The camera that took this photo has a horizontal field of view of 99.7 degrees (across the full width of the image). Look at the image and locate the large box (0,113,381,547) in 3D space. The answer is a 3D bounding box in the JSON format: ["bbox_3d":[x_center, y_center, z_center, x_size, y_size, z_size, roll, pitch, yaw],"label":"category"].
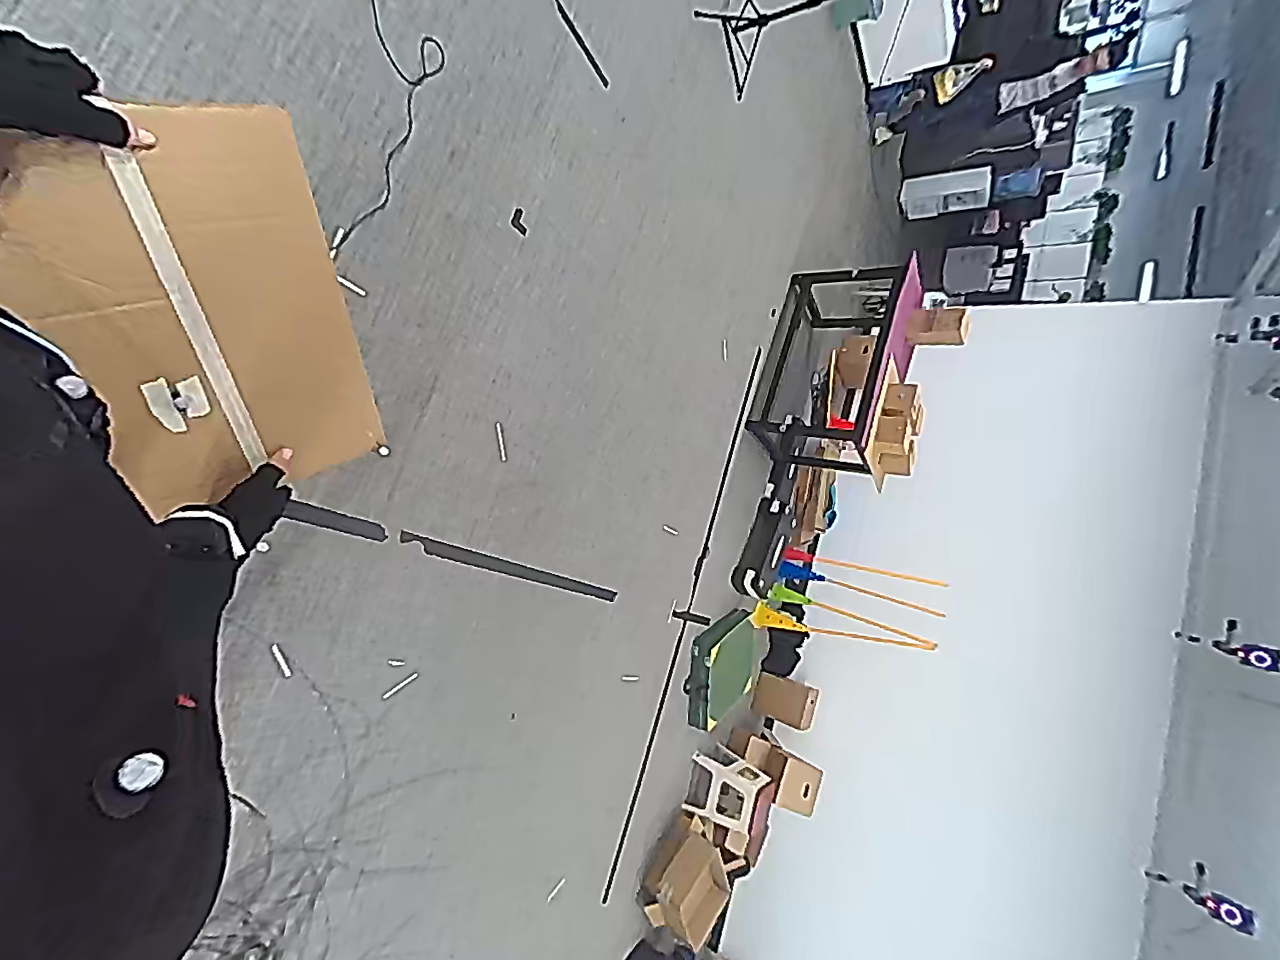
[{"bbox_3d":[-0.593,-0.203,0.664,0.320,0.320,0.408,-32,133,-39],"label":"large box"}]
